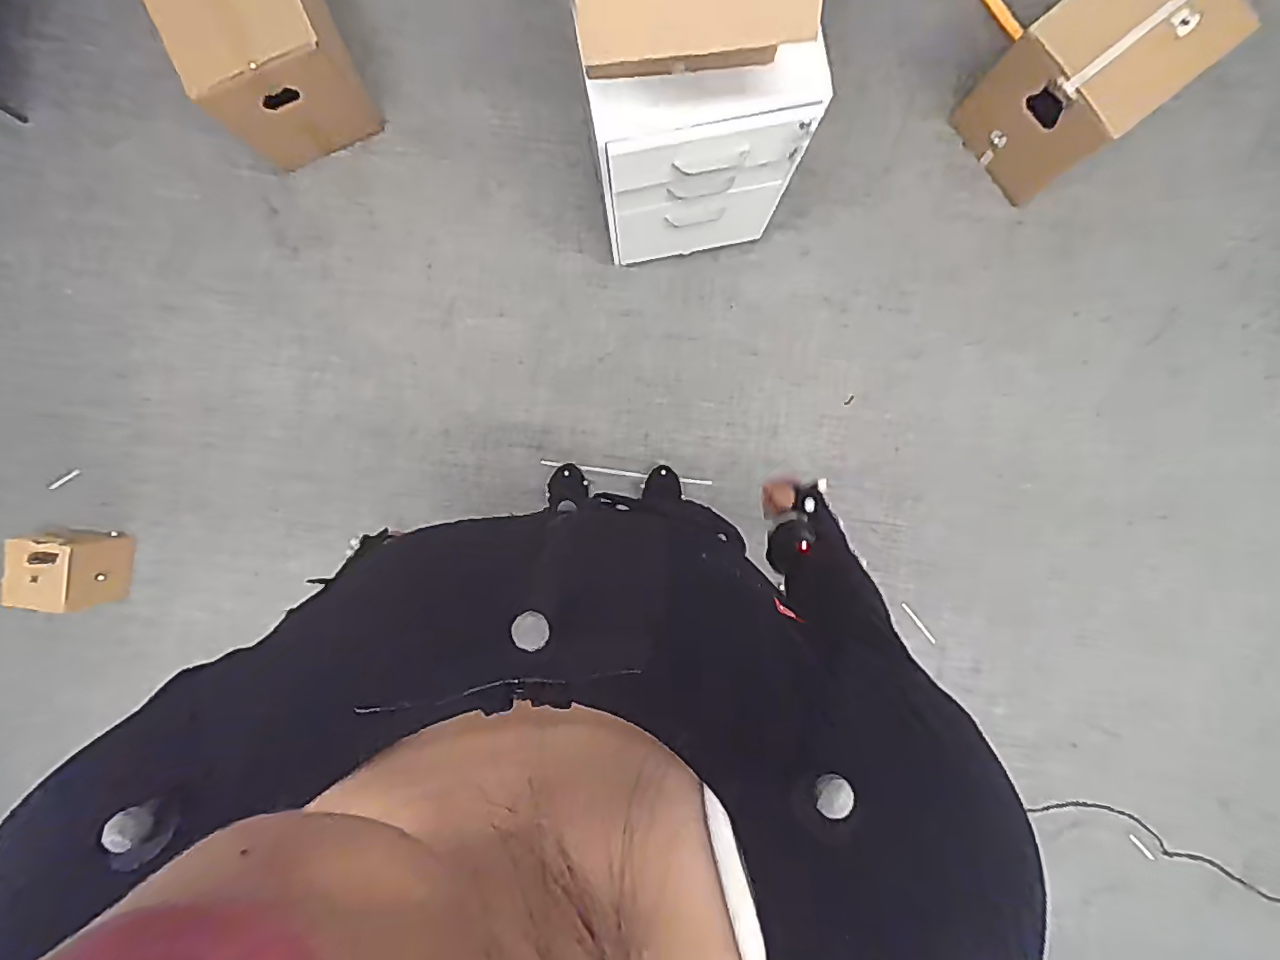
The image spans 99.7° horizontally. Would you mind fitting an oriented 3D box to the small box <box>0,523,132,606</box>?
[{"bbox_3d":[-1.505,0.215,1.429,0.168,0.176,0.179,8,92,0],"label":"small box"}]
